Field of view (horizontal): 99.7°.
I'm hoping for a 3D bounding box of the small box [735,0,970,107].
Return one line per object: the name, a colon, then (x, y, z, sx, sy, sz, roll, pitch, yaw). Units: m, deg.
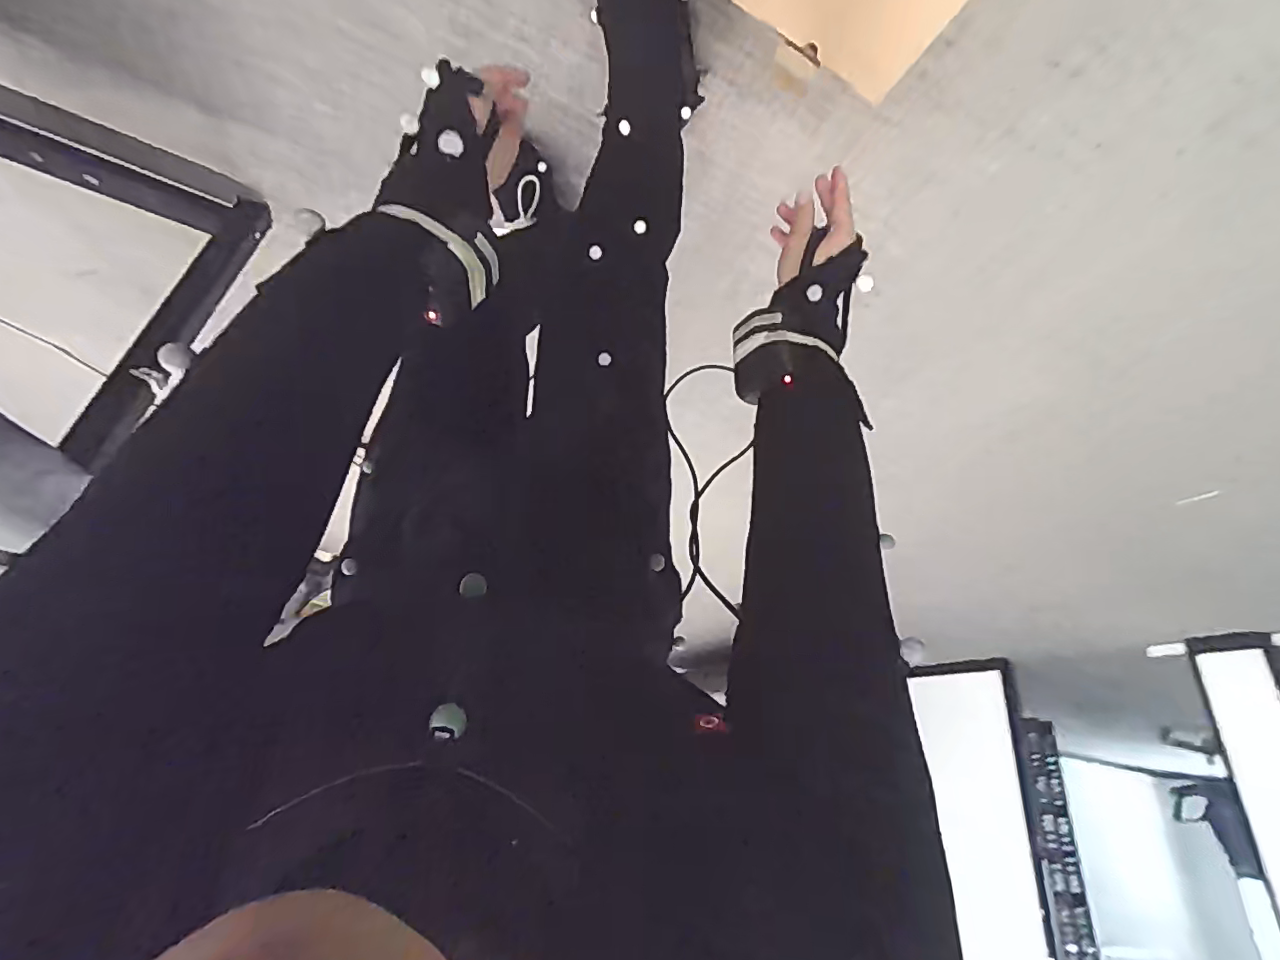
small box: (0.192, -0.468, 0.436, 0.168, 0.176, 0.179, 19, 151, -20)
